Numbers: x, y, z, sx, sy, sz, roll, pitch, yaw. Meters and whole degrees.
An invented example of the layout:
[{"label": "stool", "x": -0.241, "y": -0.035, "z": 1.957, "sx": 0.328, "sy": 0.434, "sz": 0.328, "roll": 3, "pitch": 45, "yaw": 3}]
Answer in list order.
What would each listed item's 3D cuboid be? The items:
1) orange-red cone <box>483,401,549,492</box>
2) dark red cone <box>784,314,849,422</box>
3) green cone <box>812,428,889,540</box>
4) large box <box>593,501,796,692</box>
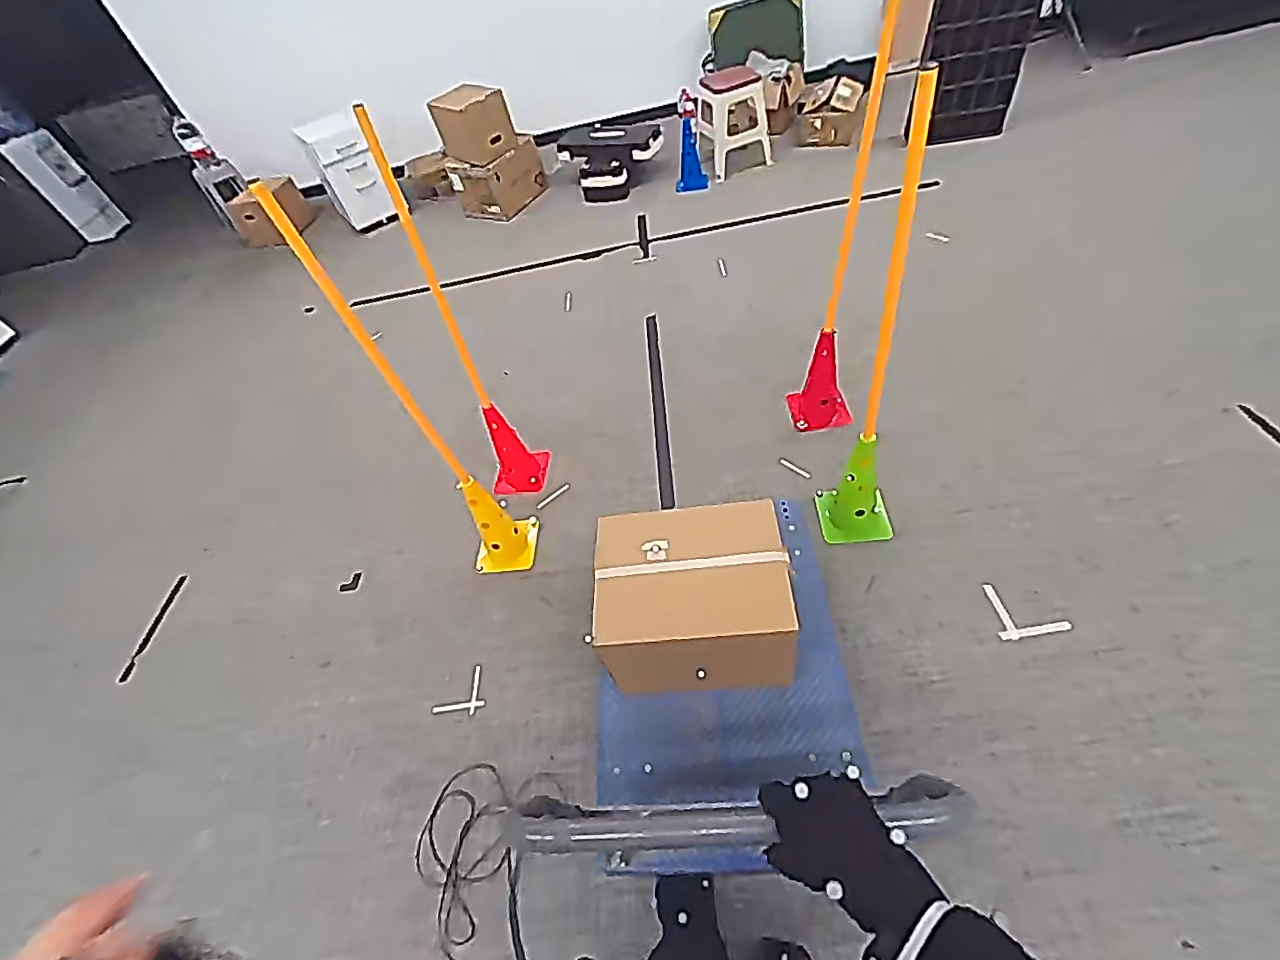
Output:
[{"label": "orange-red cone", "x": -0.481, "y": -0.141, "z": 1.936, "sx": 0.198, "sy": 0.360, "sz": 0.199, "roll": -2, "pitch": 49, "yaw": 10}, {"label": "dark red cone", "x": 0.623, "y": -0.392, "z": 1.864, "sx": 0.201, "sy": 0.394, "sz": 0.202, "roll": -8, "pitch": 50, "yaw": 4}, {"label": "green cone", "x": 0.631, "y": -0.007, "z": 1.568, "sx": 0.202, "sy": 0.368, "sz": 0.200, "roll": -5, "pitch": 50, "yaw": 7}, {"label": "large box", "x": 0.127, "y": 0.281, "z": 1.257, "sx": 0.408, "sy": 0.320, "sz": 0.320, "roll": -7, "pitch": 50, "yaw": 8}]
